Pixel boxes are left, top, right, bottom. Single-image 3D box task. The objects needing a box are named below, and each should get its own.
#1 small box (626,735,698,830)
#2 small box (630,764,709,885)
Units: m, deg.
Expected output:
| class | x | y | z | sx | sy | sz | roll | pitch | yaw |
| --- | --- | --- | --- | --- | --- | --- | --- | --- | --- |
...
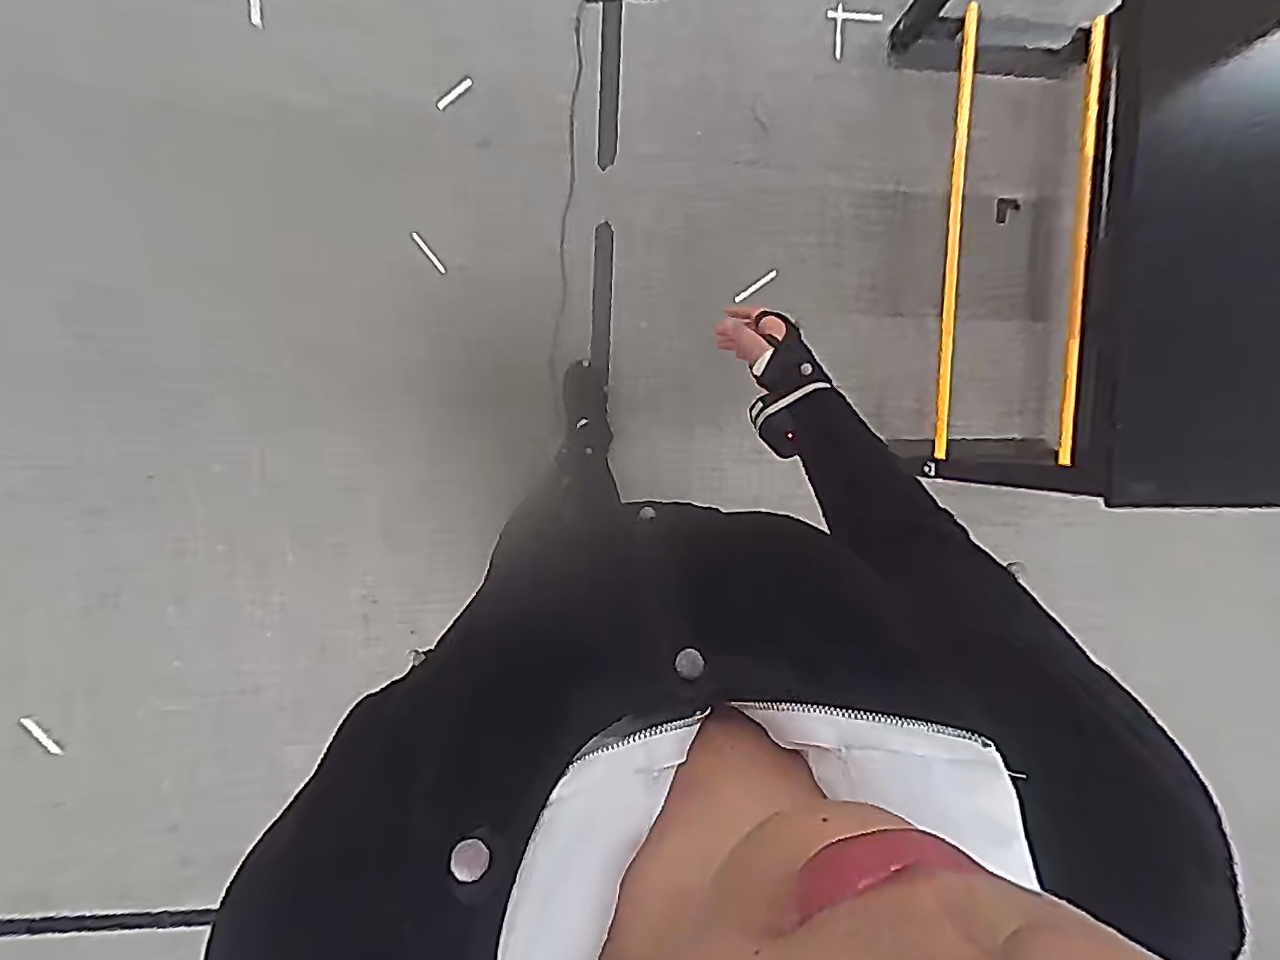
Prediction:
| class | x | y | z | sx | sy | sz | roll | pitch | yaw |
| --- | --- | --- | --- | --- | --- | --- | --- | --- | --- |
| small box | 0.056 | 0.812 | 1.464 | 0.179 | 0.176 | 0.168 | -1 | 94 | -4 |
| small box | 0.066 | 0.821 | 1.302 | 0.168 | 0.176 | 0.179 | -3 | 93 | -6 |
